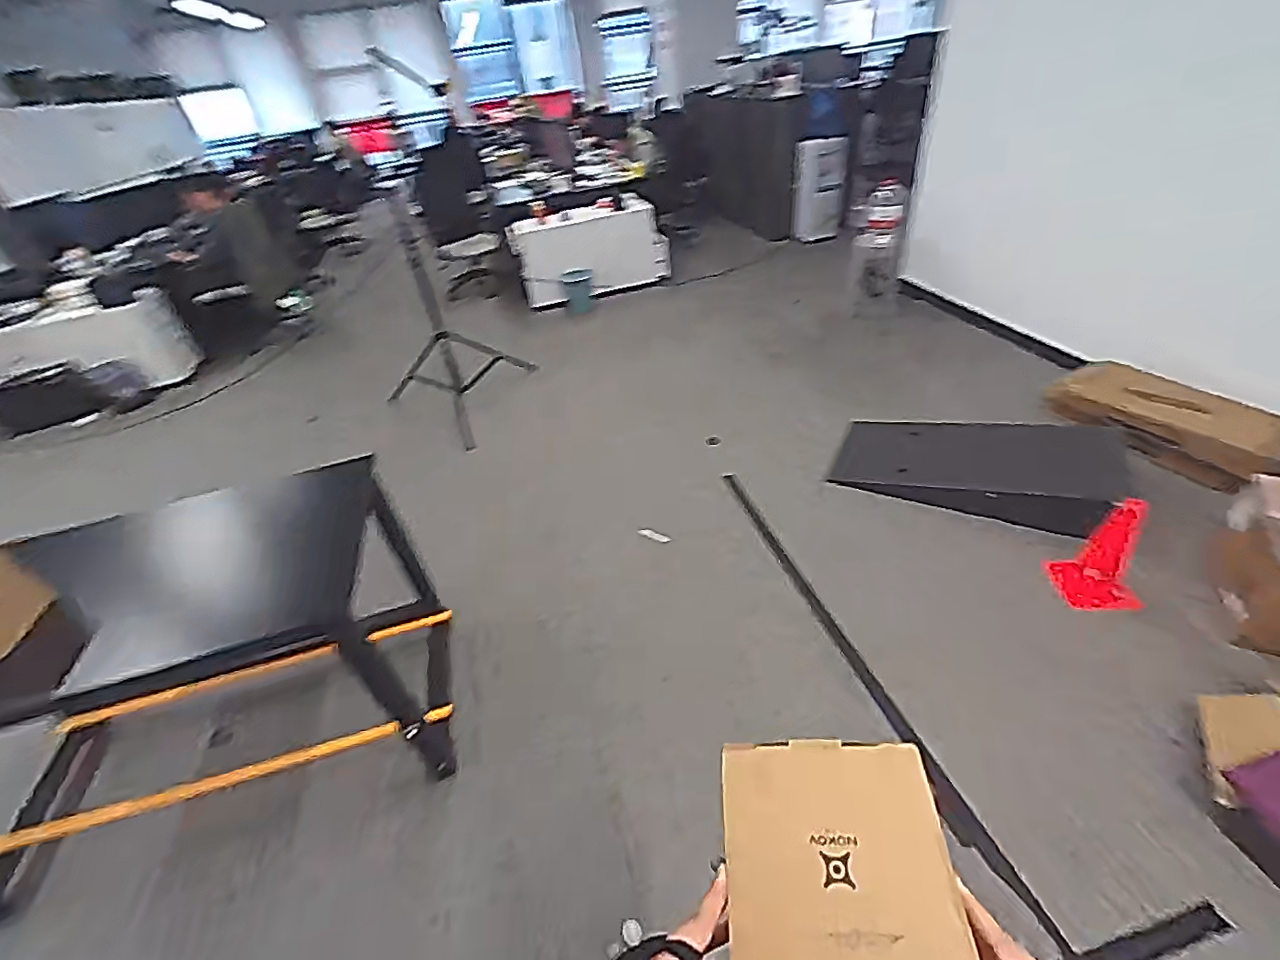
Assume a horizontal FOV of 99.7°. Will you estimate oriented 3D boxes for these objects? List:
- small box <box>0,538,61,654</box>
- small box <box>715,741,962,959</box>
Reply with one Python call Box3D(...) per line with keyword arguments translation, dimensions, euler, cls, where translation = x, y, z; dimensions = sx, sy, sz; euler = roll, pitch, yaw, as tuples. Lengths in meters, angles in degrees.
Box3D(translation=(-1.362, 0.252, 1.097), dimensions=(0.168, 0.176, 0.179), euler=(-14, 39, -7), cls="small box")
Box3D(translation=(0.151, 0.347, 0.466), dimensions=(0.168, 0.176, 0.179), euler=(-4, 44, 9), cls="small box")
